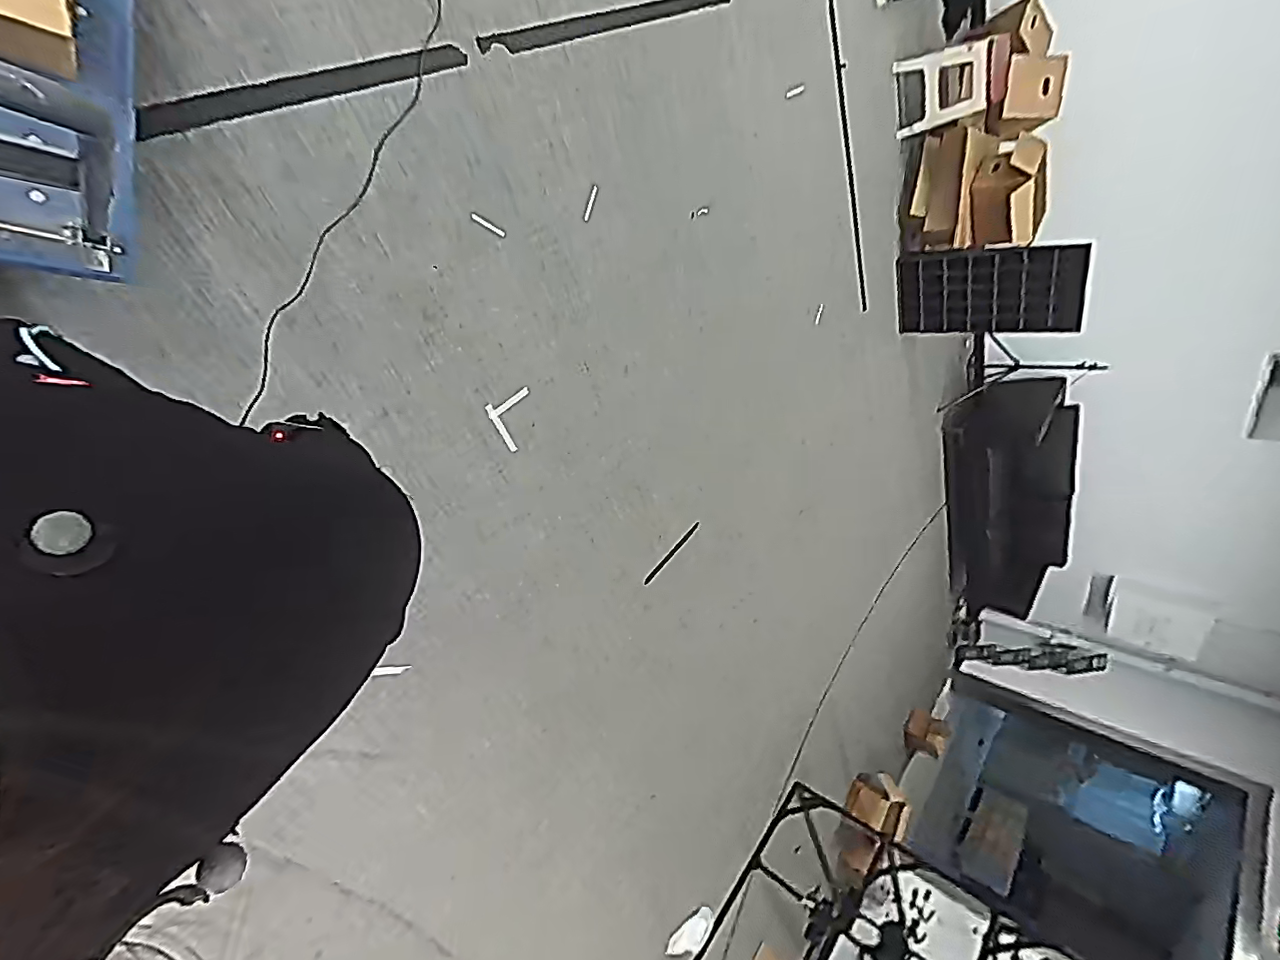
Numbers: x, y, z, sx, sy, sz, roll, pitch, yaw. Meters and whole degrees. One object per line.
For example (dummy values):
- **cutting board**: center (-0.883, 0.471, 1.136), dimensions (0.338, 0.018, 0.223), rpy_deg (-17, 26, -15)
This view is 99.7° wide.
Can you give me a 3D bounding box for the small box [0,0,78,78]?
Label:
- **small box**: center (-0.881, -0.679, 0.717), dimensions (0.179, 0.176, 0.168), rpy_deg (-5, 103, -44)
